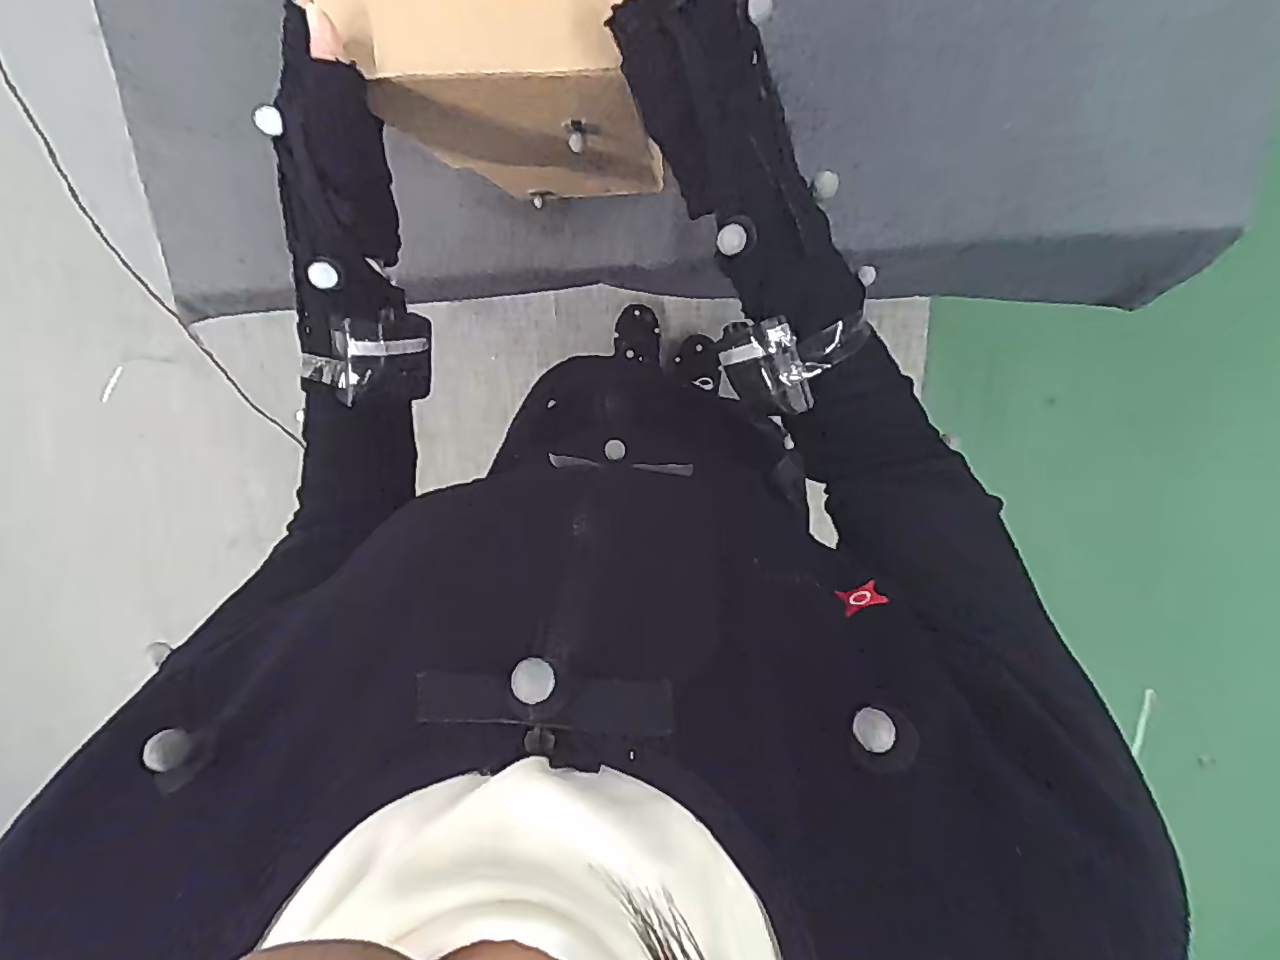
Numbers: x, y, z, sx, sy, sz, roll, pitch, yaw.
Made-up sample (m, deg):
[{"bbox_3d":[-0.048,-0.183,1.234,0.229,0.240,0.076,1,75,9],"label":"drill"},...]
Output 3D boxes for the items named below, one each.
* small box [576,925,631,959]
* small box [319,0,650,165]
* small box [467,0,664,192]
[{"bbox_3d":[-0.128,1.686,1.868,0.179,0.176,0.168,-3,107,7],"label":"small box"},{"bbox_3d":[-0.085,-0.327,0.360,0.179,0.176,0.168,2,104,7],"label":"small box"},{"bbox_3d":[-0.070,-0.385,0.511,0.168,0.176,0.179,-3,106,9],"label":"small box"}]
